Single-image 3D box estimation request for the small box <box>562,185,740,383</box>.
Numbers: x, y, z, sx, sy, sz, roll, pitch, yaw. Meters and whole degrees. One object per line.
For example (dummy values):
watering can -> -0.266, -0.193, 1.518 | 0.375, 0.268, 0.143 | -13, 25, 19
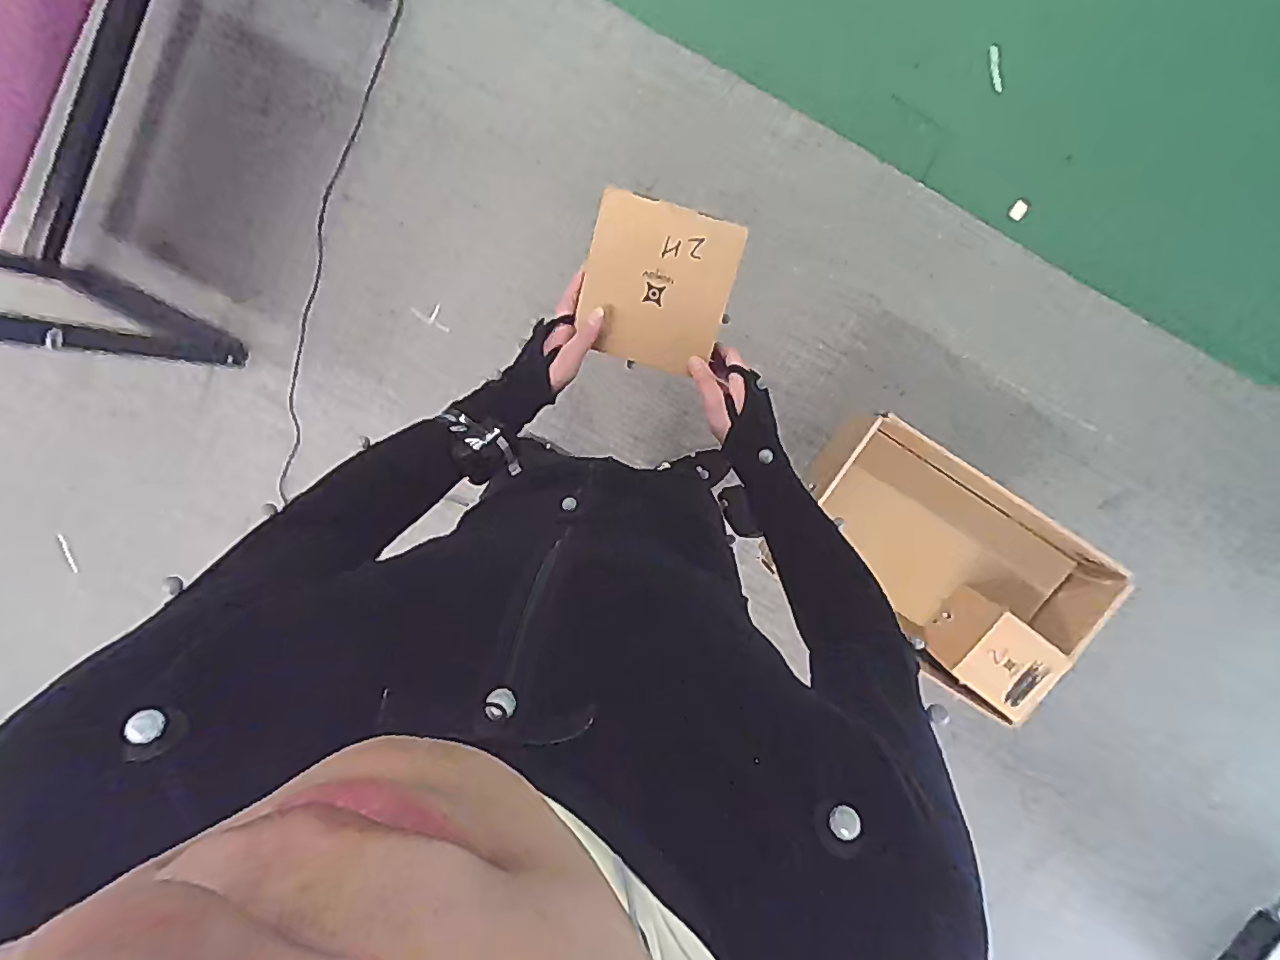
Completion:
small box -> 0.010, -0.236, 0.680 | 0.168, 0.176, 0.179 | 15, 106, -5
